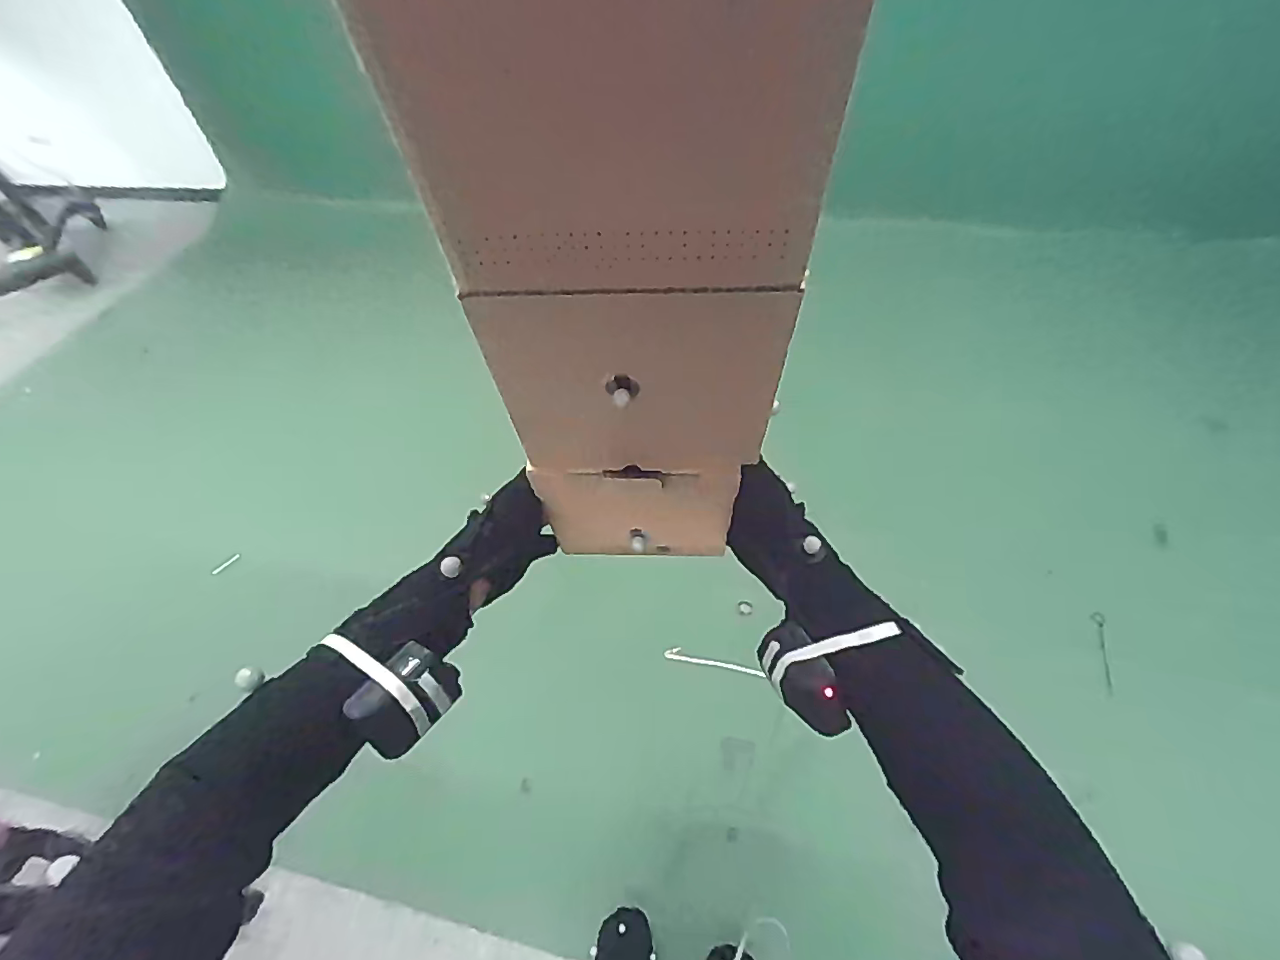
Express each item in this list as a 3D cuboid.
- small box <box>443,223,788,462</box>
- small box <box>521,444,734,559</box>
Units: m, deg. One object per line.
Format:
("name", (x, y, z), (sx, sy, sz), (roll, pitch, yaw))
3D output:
("small box", (-0.005, -0.124, 0.376), (0.179, 0.176, 0.168), (3, 59, 4))
("small box", (-0.003, -0.039, 0.520), (0.168, 0.176, 0.179), (0, 60, 4))
